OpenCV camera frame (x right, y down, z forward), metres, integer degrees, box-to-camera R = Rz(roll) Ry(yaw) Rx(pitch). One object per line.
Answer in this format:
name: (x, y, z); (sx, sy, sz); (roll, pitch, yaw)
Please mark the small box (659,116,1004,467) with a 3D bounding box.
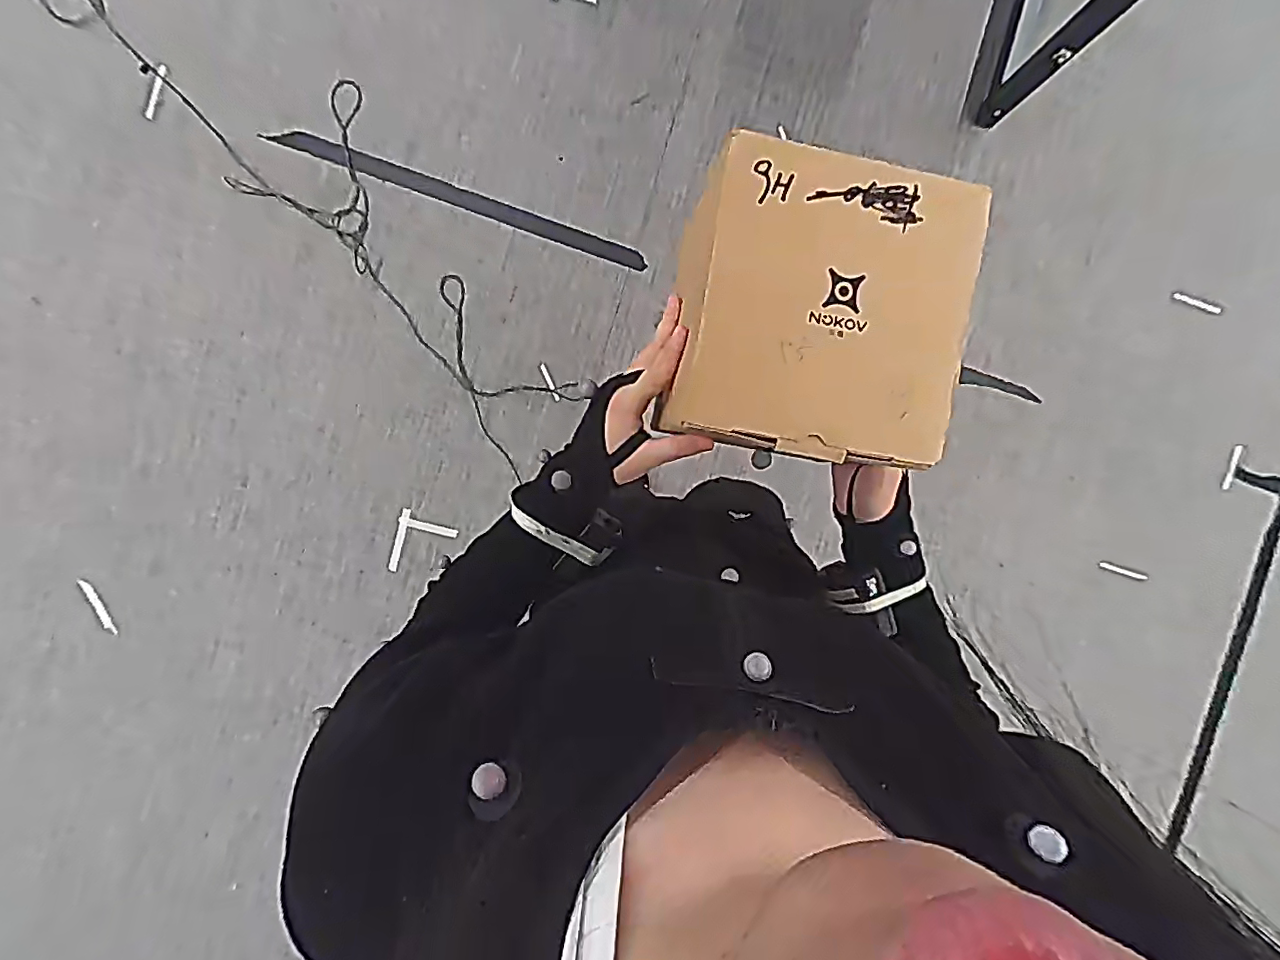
small box: (0.113, -0.113, 0.396); (0.168, 0.176, 0.179); (9, 94, -7)
